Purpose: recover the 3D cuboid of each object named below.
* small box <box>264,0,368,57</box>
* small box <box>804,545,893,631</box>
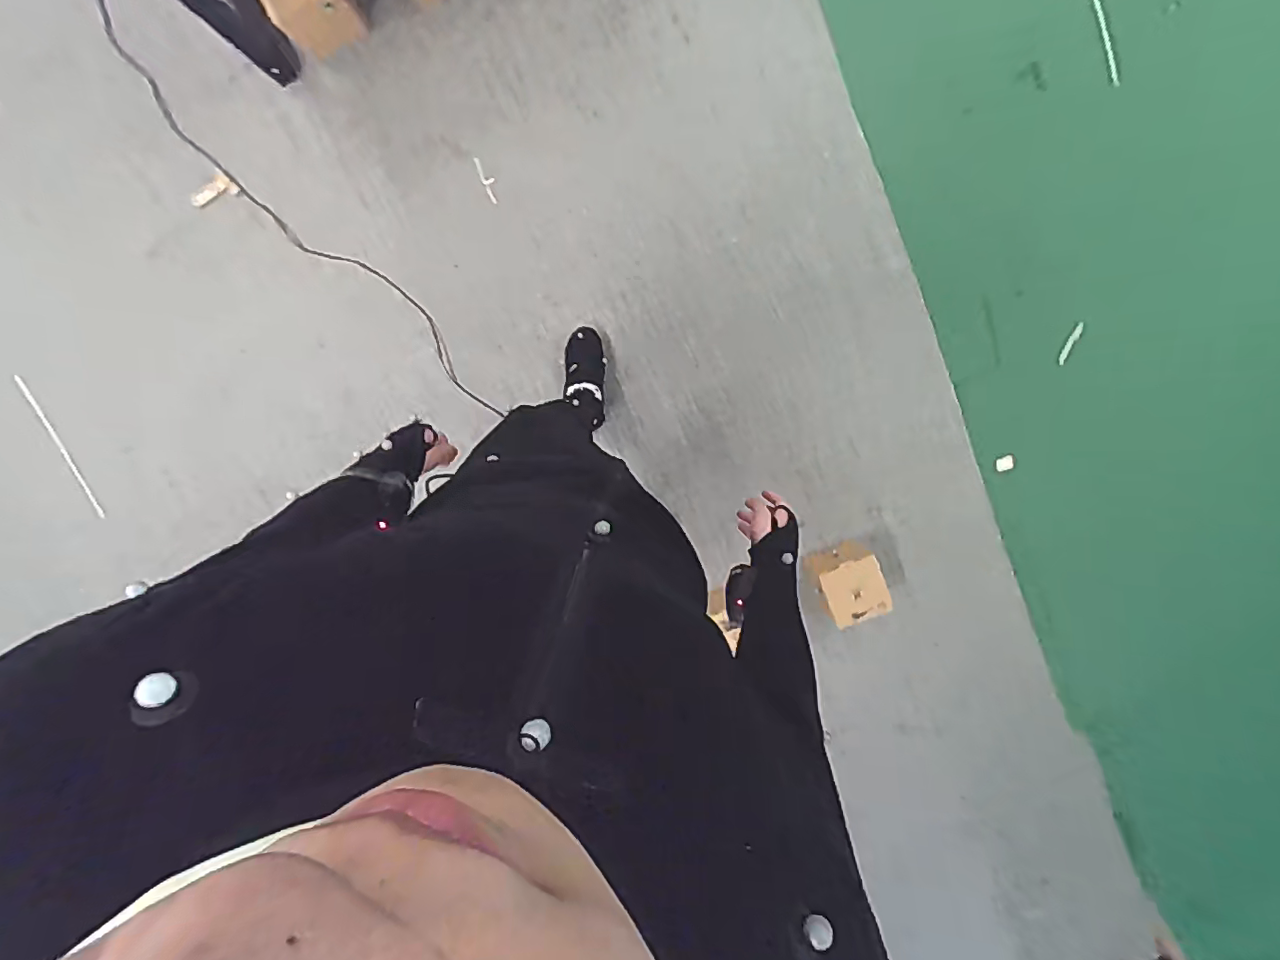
[{"bbox_3d":[-0.833,-1.226,1.362,0.179,0.176,0.168,-24,97,5],"label":"small box"},{"bbox_3d":[0.593,0.301,1.561,0.168,0.176,0.179,-21,98,5],"label":"small box"}]
